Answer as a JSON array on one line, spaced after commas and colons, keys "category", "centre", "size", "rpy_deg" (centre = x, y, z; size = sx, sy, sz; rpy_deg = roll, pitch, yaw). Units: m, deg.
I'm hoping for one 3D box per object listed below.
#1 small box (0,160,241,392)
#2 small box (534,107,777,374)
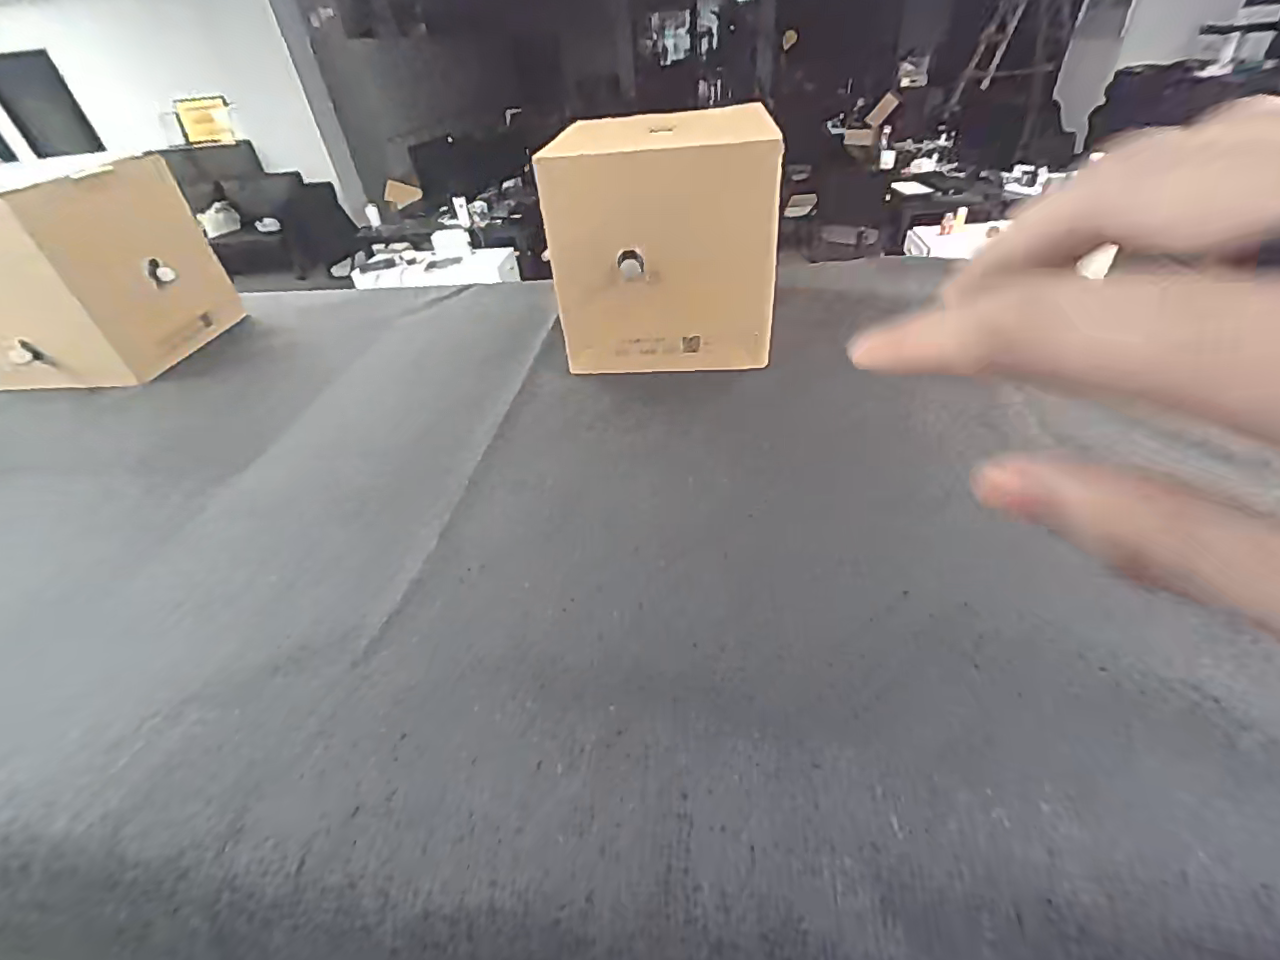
[{"category": "small box", "centre": [-0.550, -0.197, 0.527], "size": [0.179, 0.176, 0.168], "rpy_deg": [0, 40, 5]}, {"category": "small box", "centre": [0.024, -0.201, 0.464], "size": [0.168, 0.176, 0.179], "rpy_deg": [0, 40, 7]}]
